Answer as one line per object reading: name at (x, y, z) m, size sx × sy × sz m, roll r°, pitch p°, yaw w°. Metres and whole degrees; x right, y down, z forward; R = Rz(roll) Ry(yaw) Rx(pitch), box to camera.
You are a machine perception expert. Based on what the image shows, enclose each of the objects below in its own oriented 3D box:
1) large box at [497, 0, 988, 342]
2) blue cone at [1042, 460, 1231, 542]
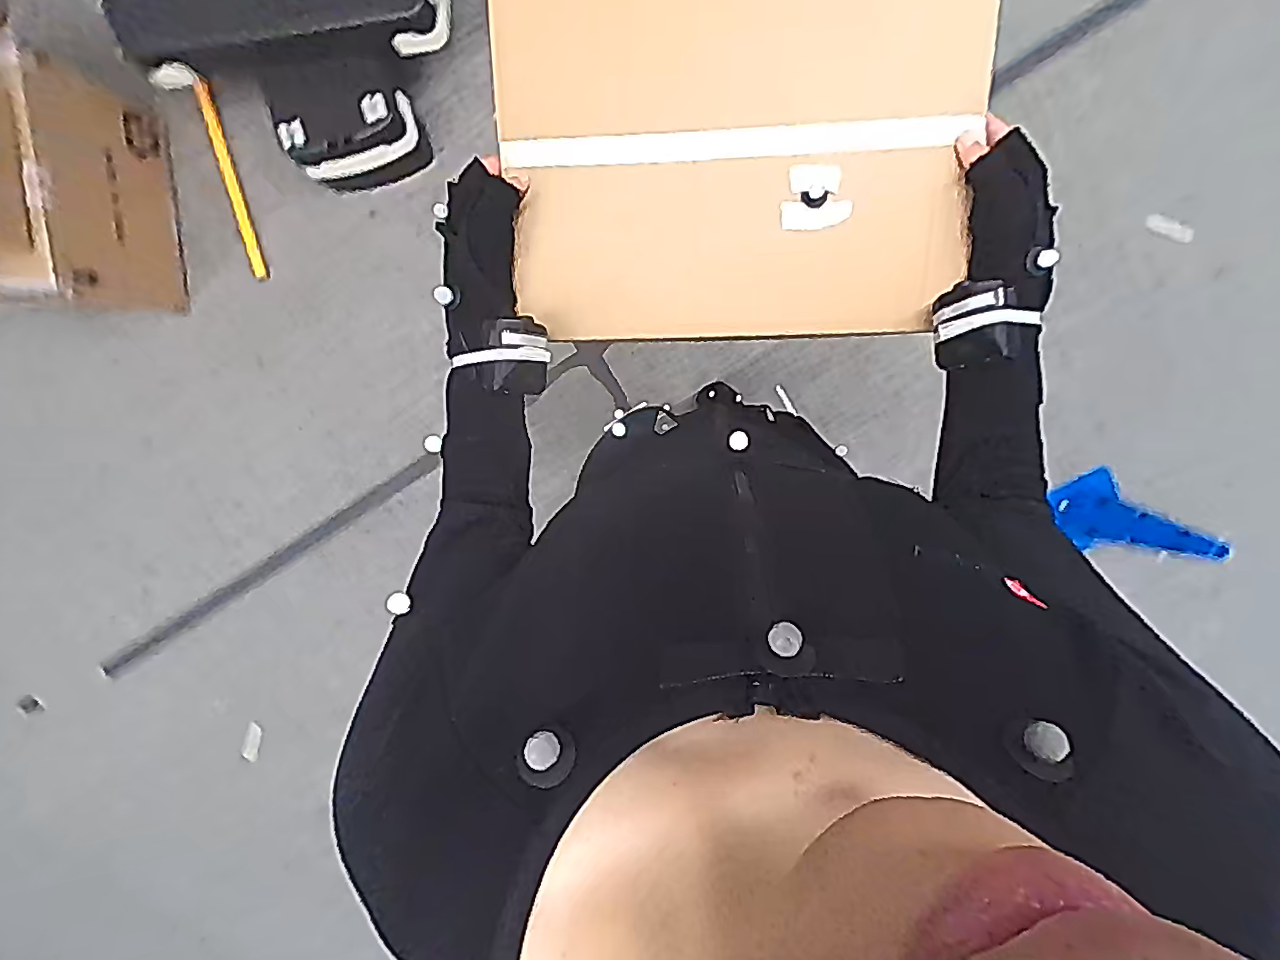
large box at (0.087, -0.322, 0.608) m, size 0.408 × 0.320 × 0.320 m, roll 0°, pitch 104°, yaw 3°
blue cone at (1.198, 0.087, 1.301) m, size 0.192 × 0.380 × 0.193 m, roll -28°, pitch 98°, yaw 5°
